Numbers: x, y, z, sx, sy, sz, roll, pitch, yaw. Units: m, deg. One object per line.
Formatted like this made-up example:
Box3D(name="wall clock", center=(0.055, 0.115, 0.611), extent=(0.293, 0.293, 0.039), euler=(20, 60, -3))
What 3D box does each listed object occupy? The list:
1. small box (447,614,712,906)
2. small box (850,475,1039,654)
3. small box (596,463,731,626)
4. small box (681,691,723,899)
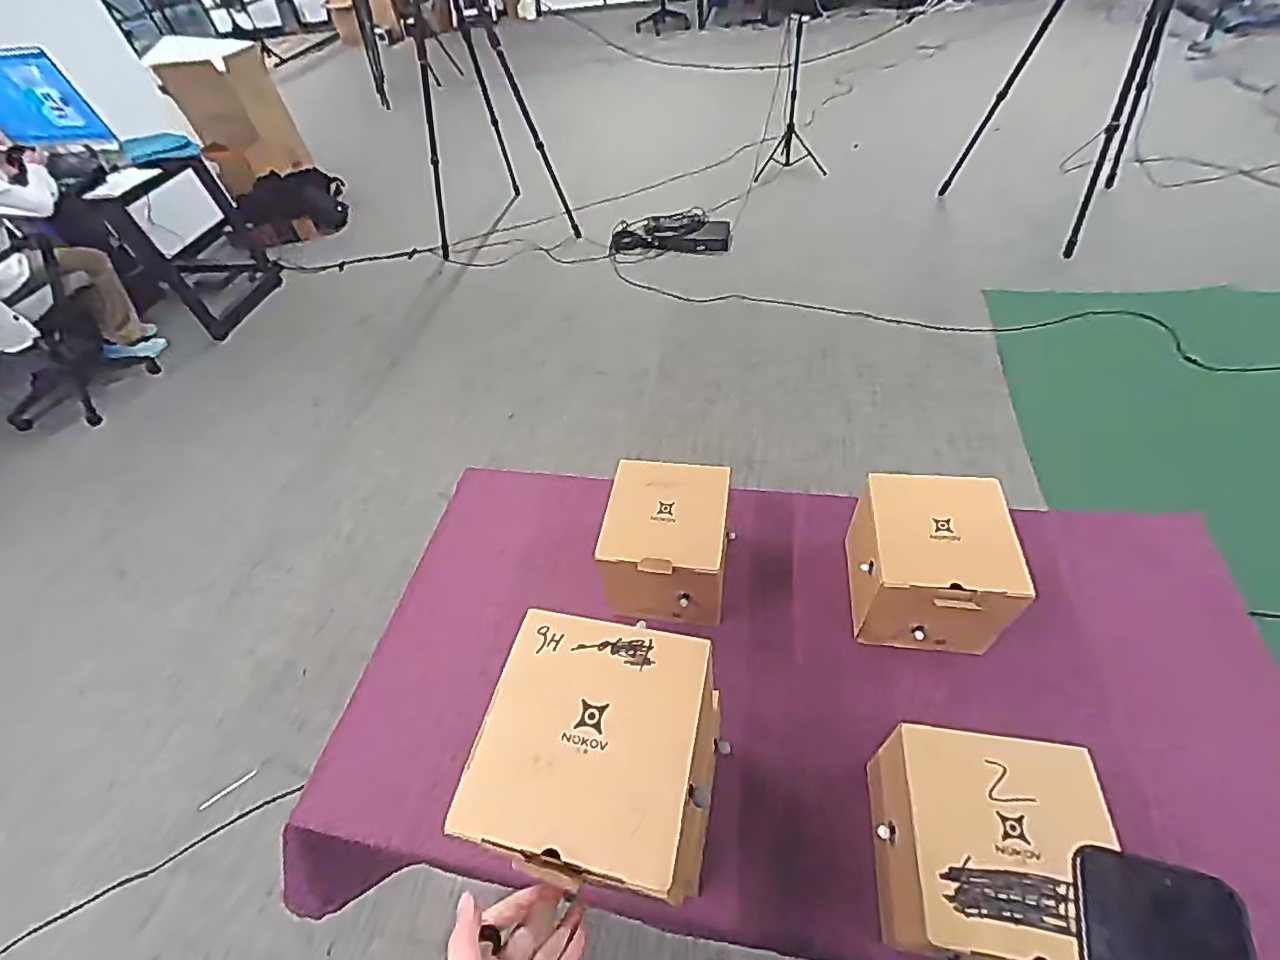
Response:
Box3D(name="small box", center=(-0.030, 0.244, 0.472), extent=(0.168, 0.176, 0.179), euler=(6, 52, 13))
Box3D(name="small box", center=(0.390, 0.113, 0.734), extent=(0.168, 0.176, 0.179), euler=(0, 50, 11))
Box3D(name="small box", center=(0.045, 0.098, 0.801), extent=(0.168, 0.176, 0.179), euler=(5, 51, 11))
Box3D(name="small box", center=(-0.002, 0.337, 0.605), extent=(0.168, 0.176, 0.179), euler=(6, 51, 14))
